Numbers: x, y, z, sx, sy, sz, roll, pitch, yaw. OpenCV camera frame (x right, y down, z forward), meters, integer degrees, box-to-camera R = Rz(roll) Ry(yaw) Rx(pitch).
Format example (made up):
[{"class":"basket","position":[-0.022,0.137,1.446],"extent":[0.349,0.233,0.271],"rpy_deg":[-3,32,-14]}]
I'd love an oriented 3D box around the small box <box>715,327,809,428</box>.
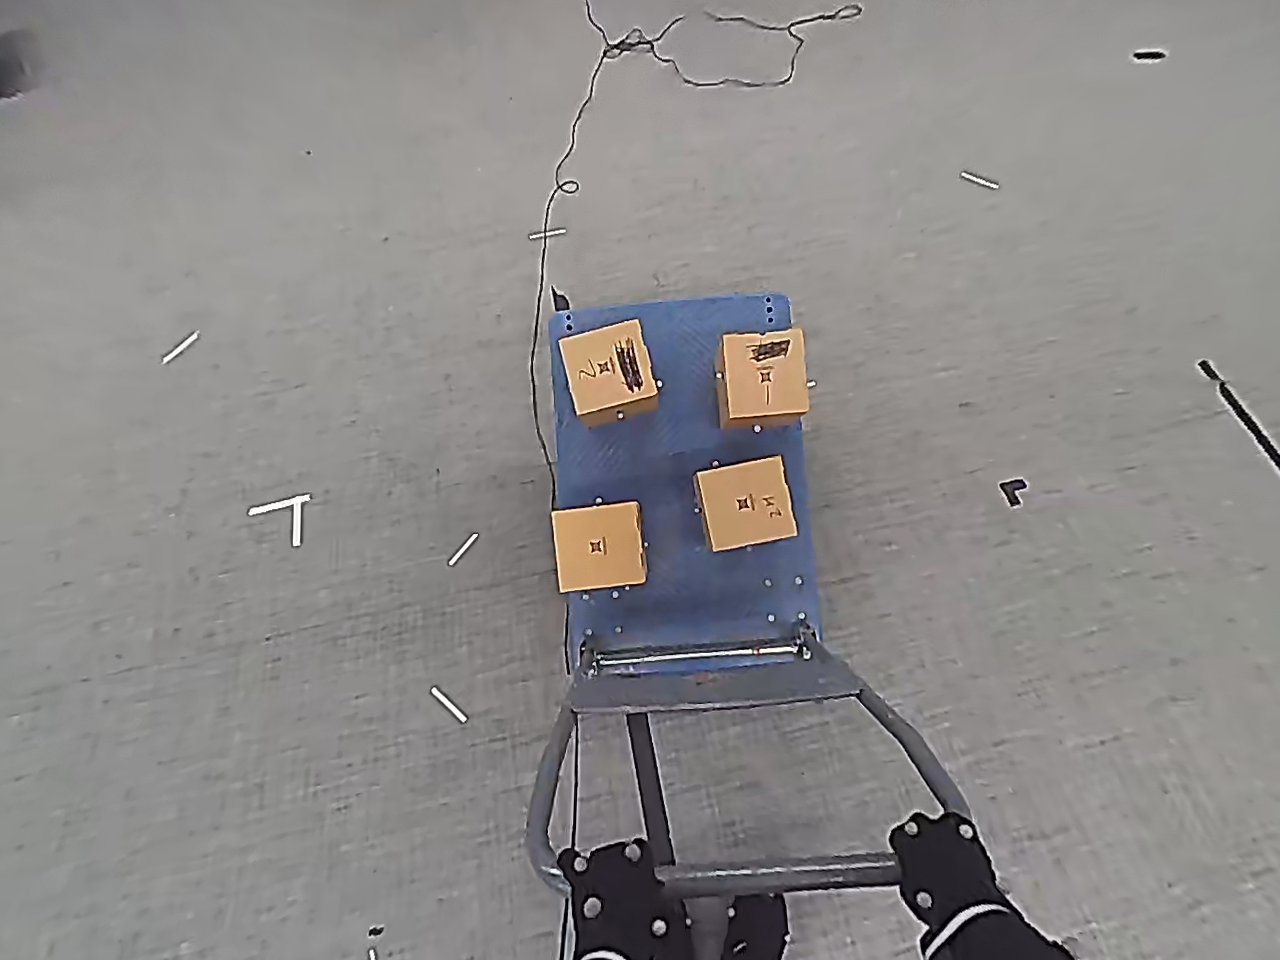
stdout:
[{"class":"small box","position":[0.259,-0.217,1.179],"extent":[0.168,0.176,0.179],"rpy_deg":[-5,87,2]}]

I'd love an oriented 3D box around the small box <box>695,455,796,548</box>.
[{"class":"small box","position":[0.218,0.049,1.164],"extent":[0.179,0.176,0.168],"rpy_deg":[-11,86,2]}]

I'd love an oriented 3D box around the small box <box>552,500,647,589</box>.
[{"class":"small box","position":[-0.082,0.137,1.171],"extent":[0.179,0.176,0.168],"rpy_deg":[-7,86,1]}]
